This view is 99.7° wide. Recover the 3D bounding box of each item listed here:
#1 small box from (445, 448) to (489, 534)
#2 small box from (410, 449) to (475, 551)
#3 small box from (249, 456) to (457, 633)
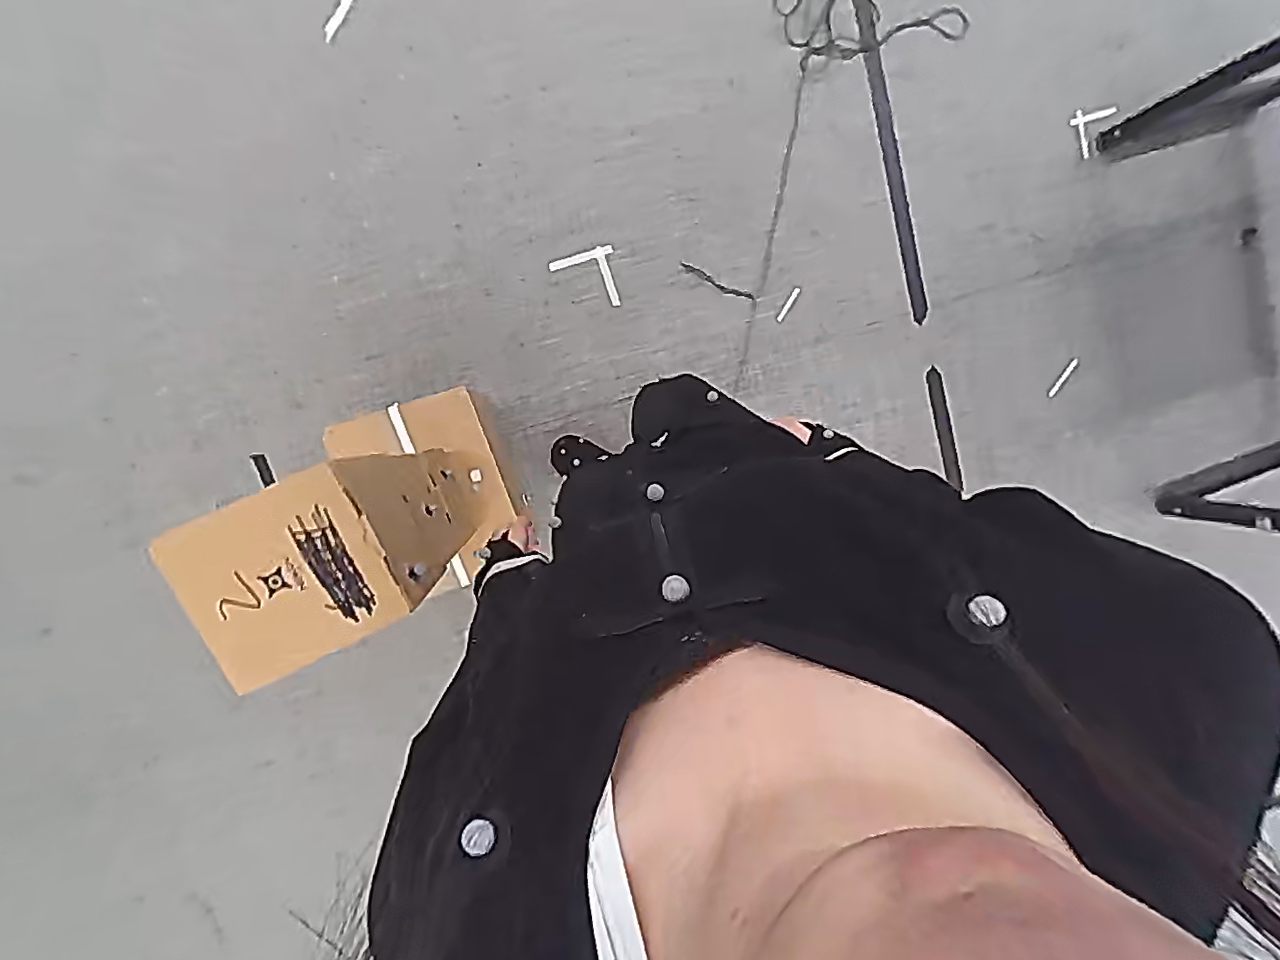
[{"bbox_3d":[-0.416,0.042,1.061,0.179,0.176,0.168,-21,98,-6],"label":"small box"},{"bbox_3d":[-0.390,0.052,0.901,0.179,0.176,0.168,-22,97,-5],"label":"small box"},{"bbox_3d":[-0.368,0.073,0.739,0.179,0.176,0.168,-26,97,-5],"label":"small box"}]
